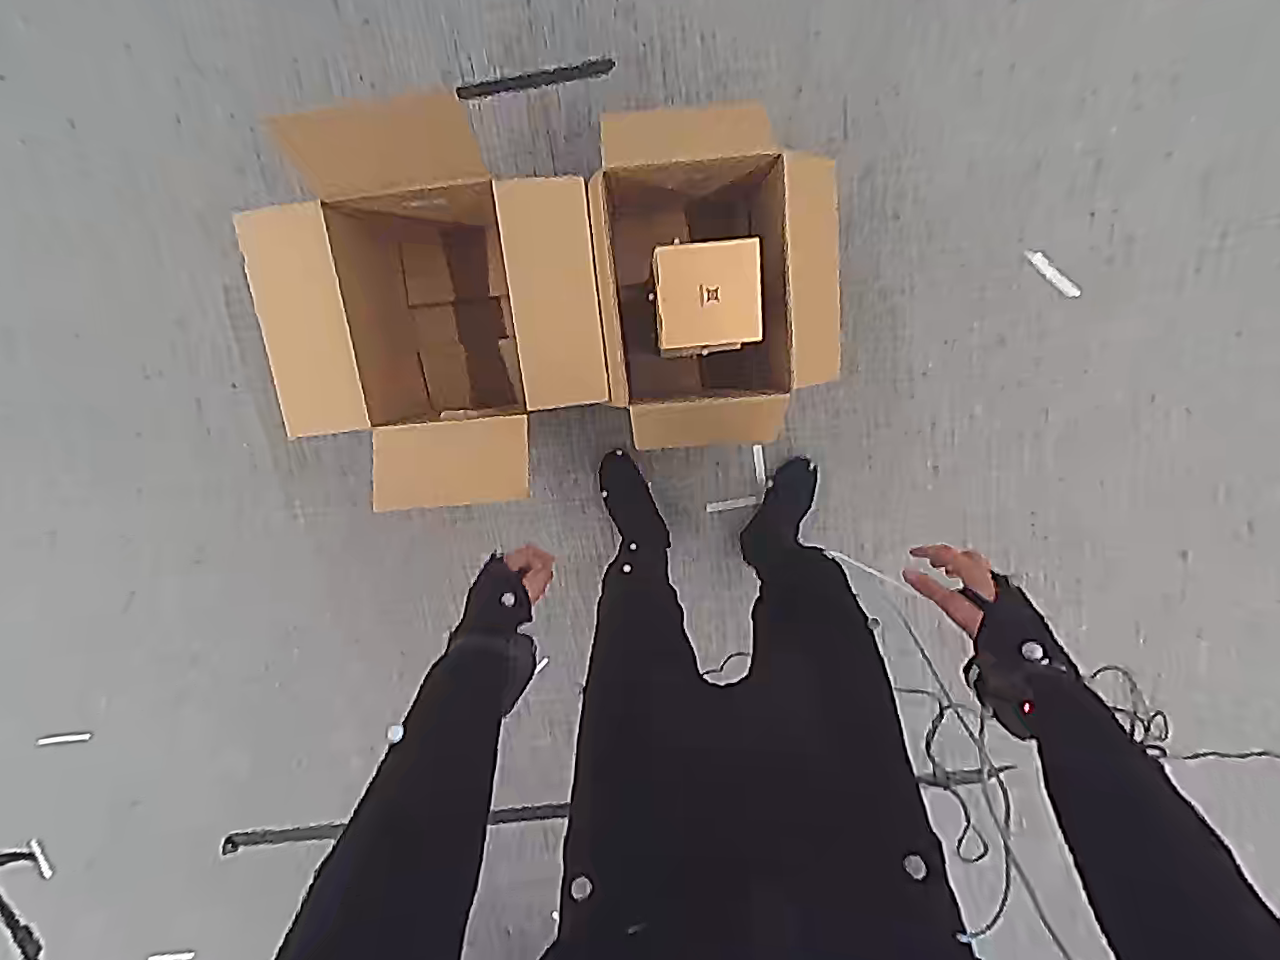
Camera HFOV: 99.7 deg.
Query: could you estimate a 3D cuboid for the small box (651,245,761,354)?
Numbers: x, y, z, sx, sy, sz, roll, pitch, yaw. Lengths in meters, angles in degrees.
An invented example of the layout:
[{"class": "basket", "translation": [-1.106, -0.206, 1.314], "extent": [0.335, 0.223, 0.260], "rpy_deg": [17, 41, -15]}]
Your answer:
[{"class": "small box", "translation": [0.115, -0.325, 0.987], "extent": [0.179, 0.176, 0.168], "rpy_deg": [-5, 105, 2]}]
